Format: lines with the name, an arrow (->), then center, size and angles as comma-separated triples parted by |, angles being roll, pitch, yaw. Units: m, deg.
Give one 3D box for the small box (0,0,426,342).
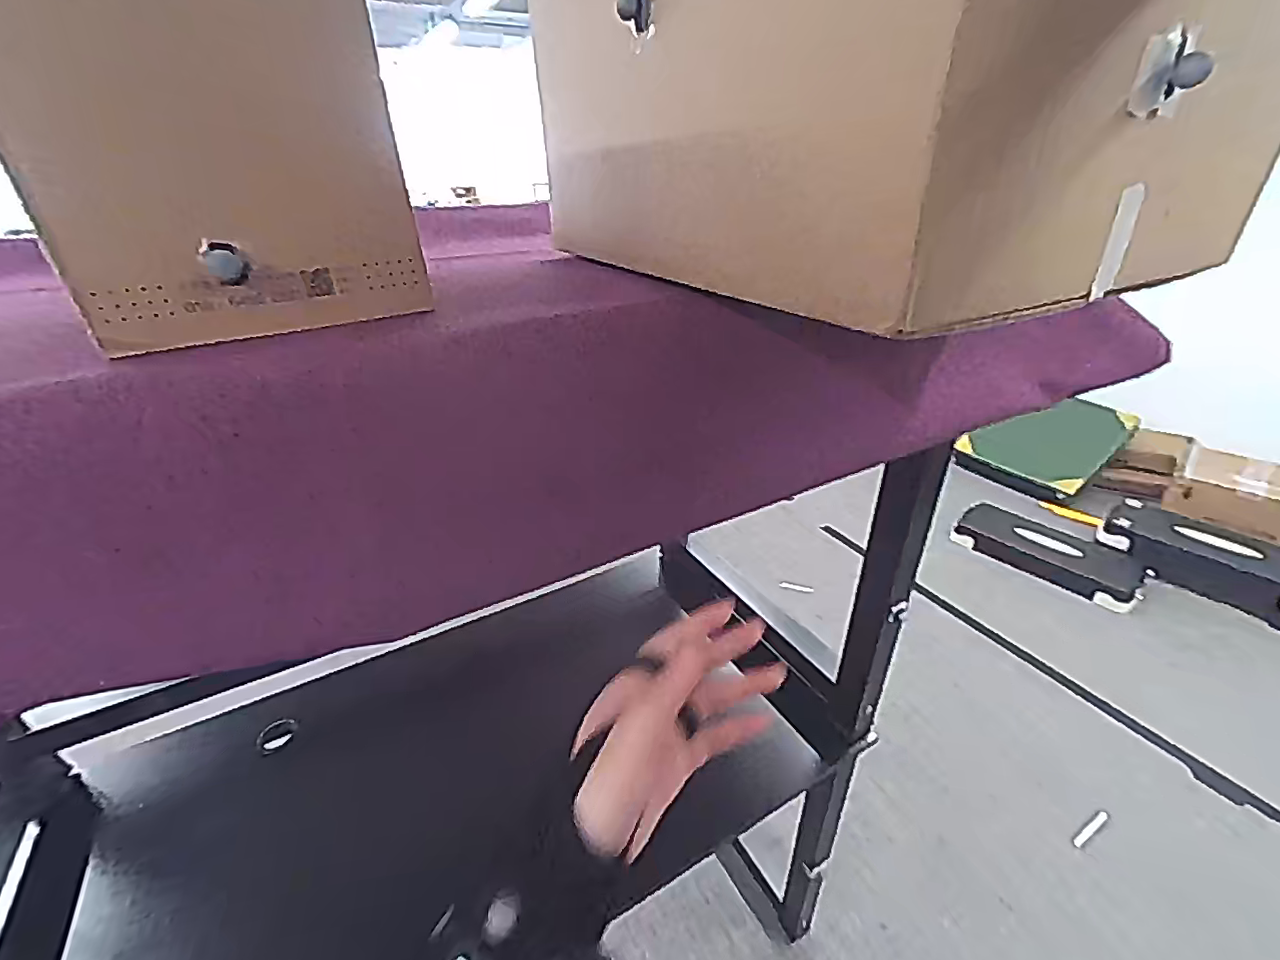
small box -> -0.247, -0.191, 0.323 | 0.168, 0.176, 0.179 | -21, 35, -27
